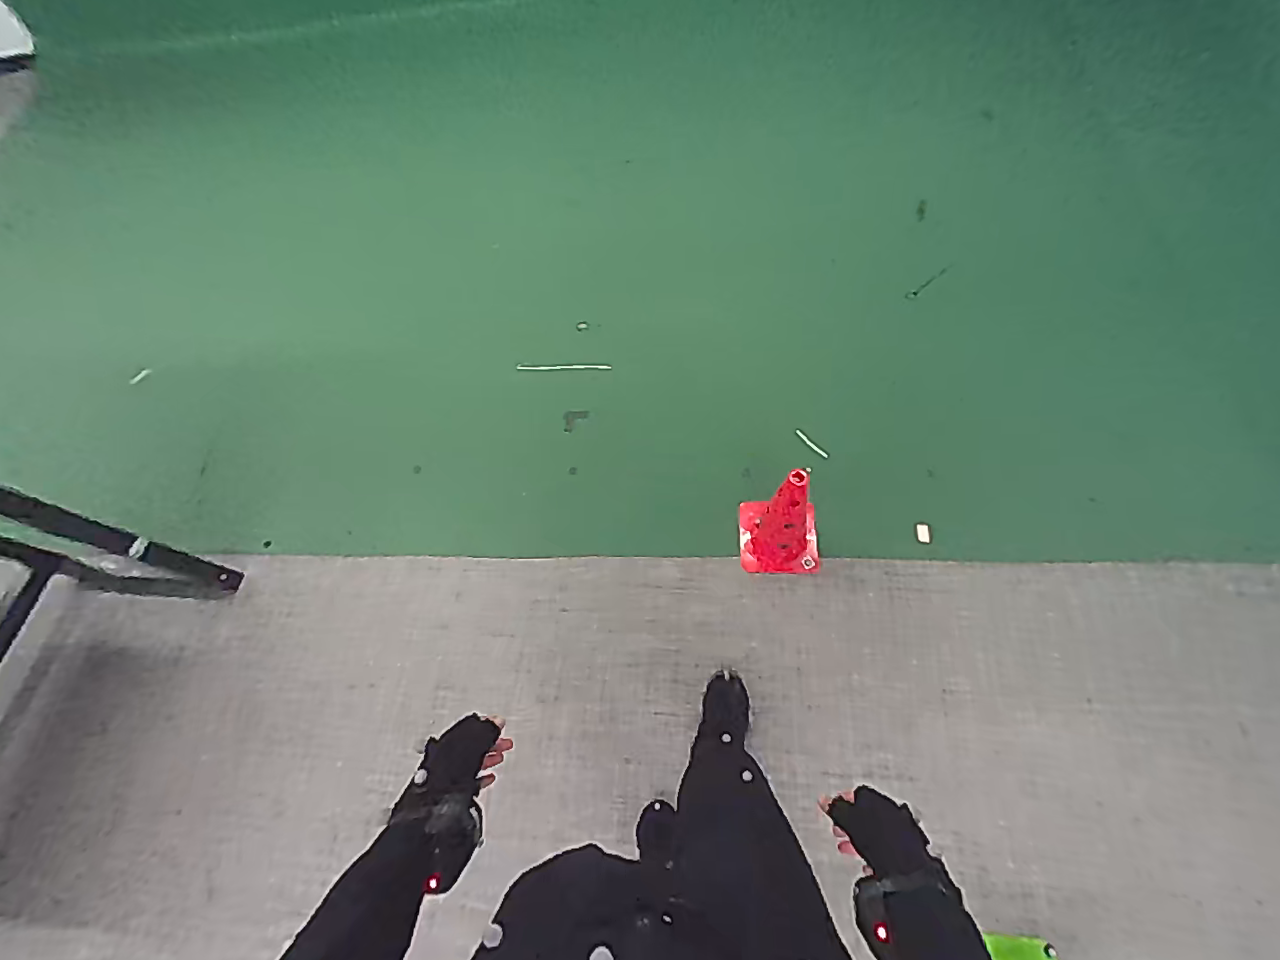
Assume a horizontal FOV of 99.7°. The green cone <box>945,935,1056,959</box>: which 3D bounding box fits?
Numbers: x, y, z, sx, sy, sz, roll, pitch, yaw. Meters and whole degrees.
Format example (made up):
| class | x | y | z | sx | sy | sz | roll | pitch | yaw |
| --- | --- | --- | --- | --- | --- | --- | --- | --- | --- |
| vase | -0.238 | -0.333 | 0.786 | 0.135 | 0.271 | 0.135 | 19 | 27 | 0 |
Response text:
| class | x | y | z | sx | sy | sz | roll | pitch | yaw |
| --- | --- | --- | --- | --- | --- | --- | --- | --- | --- |
| green cone | 0.656 | 0.888 | 0.834 | 0.200 | 0.368 | 0.202 | -2 | 64 | 6 |
